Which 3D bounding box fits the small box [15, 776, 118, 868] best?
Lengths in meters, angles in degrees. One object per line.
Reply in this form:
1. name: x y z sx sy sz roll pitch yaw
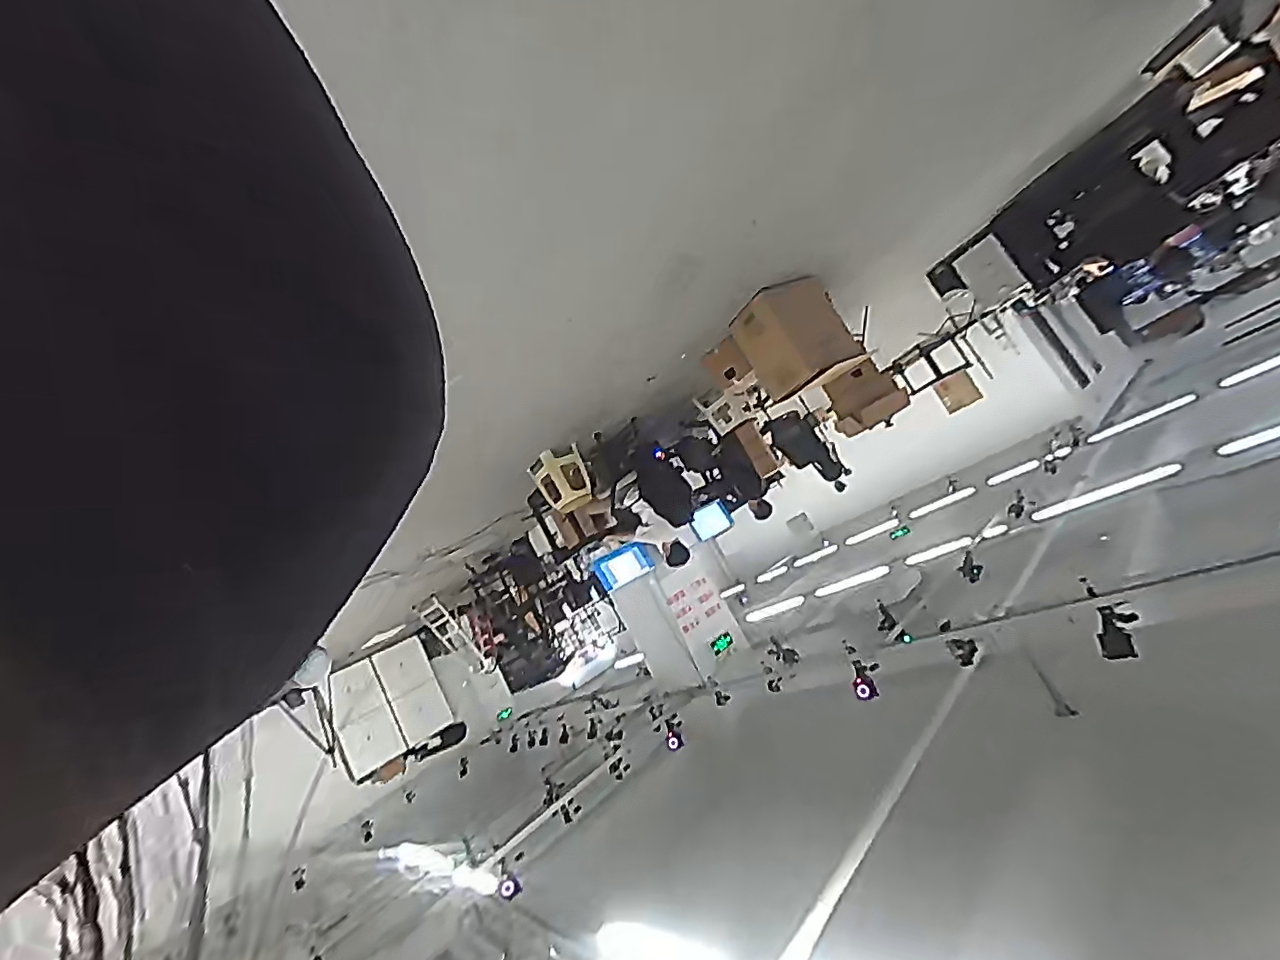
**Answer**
1. small box: -1.711 1.016 1.619 0.168 0.176 0.179 -23 168 -44
